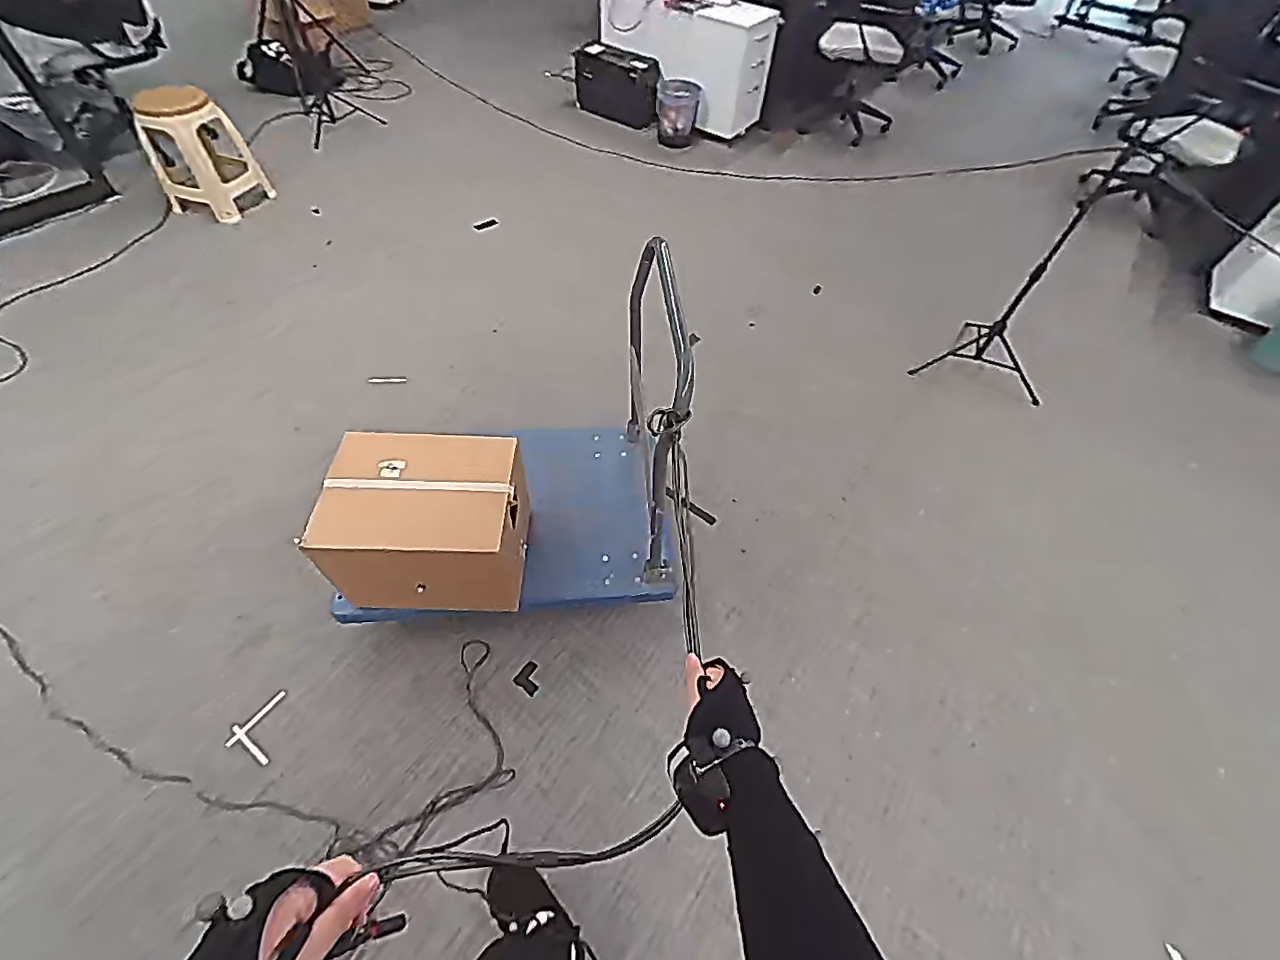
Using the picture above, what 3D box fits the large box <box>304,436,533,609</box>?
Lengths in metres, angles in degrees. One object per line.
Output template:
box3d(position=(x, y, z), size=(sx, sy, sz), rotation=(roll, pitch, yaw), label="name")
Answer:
box3d(position=(-0.486, 0.111, 1.301), size=(0.408, 0.320, 0.320), rotation=(1, 53, -2), label="large box")
